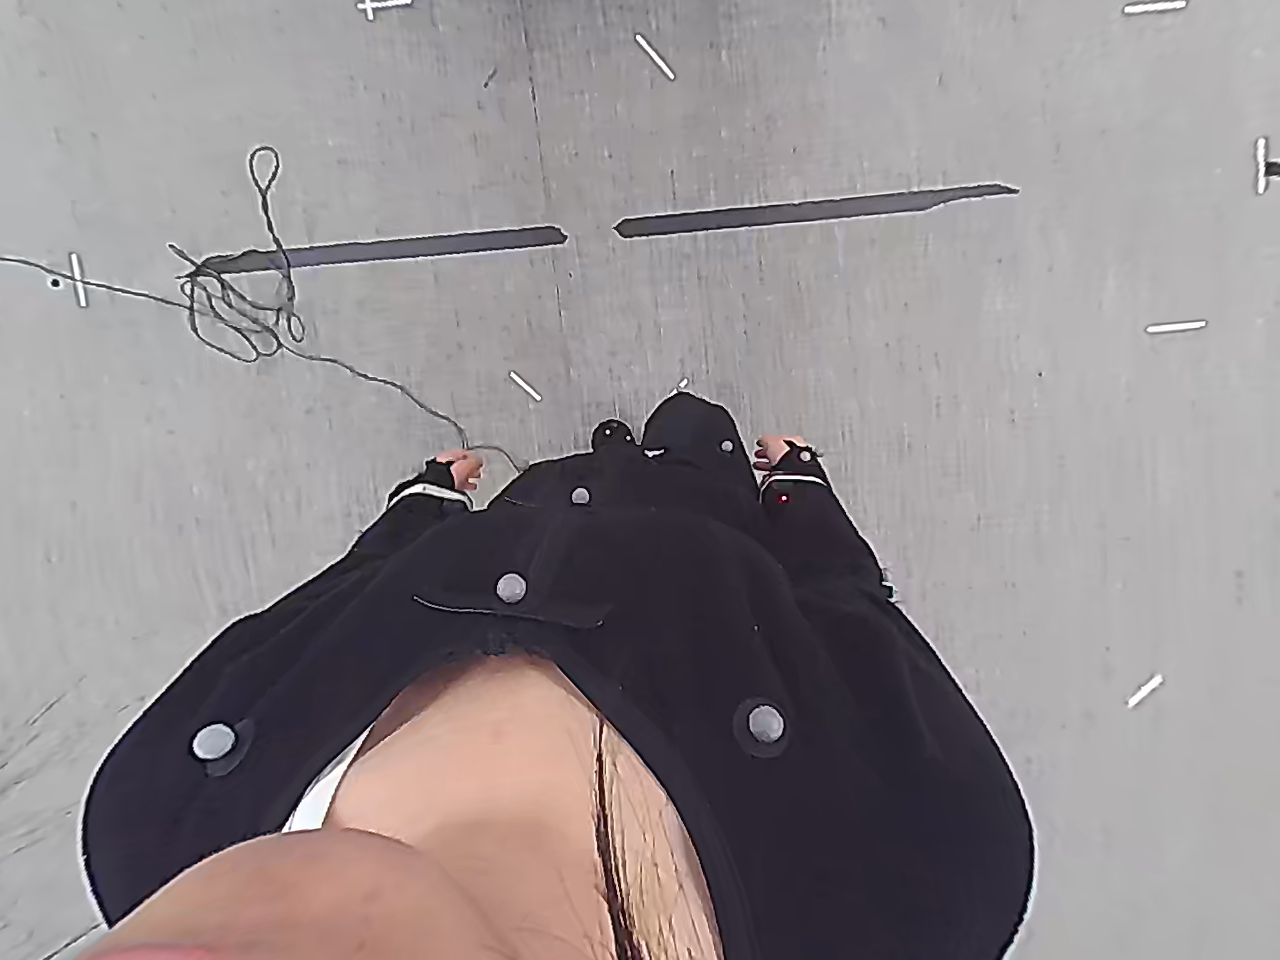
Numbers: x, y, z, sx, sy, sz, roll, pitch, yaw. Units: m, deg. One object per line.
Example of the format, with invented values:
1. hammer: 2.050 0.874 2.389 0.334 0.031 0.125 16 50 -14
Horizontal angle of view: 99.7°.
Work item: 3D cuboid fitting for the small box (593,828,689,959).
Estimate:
1. small box: 0.001 0.781 1.003 0.168 0.176 0.179 -1 95 0
